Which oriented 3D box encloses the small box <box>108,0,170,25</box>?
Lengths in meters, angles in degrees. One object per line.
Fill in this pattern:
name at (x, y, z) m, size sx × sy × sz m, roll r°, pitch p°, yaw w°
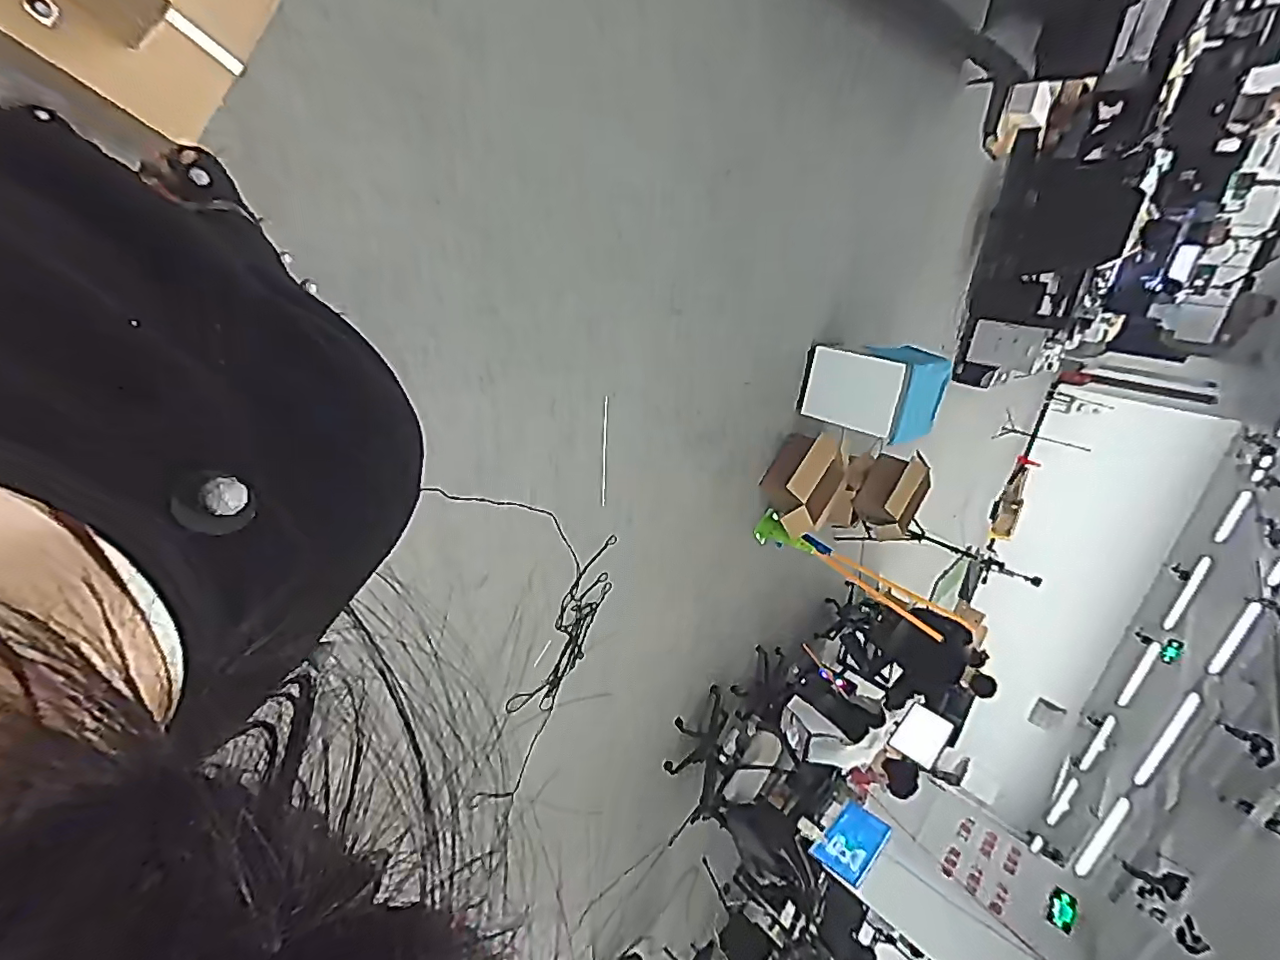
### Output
small box at (-0.556, -0.628, 0.558) m, size 0.168 × 0.176 × 0.179 m, roll 30°, pitch 84°, yaw -51°
